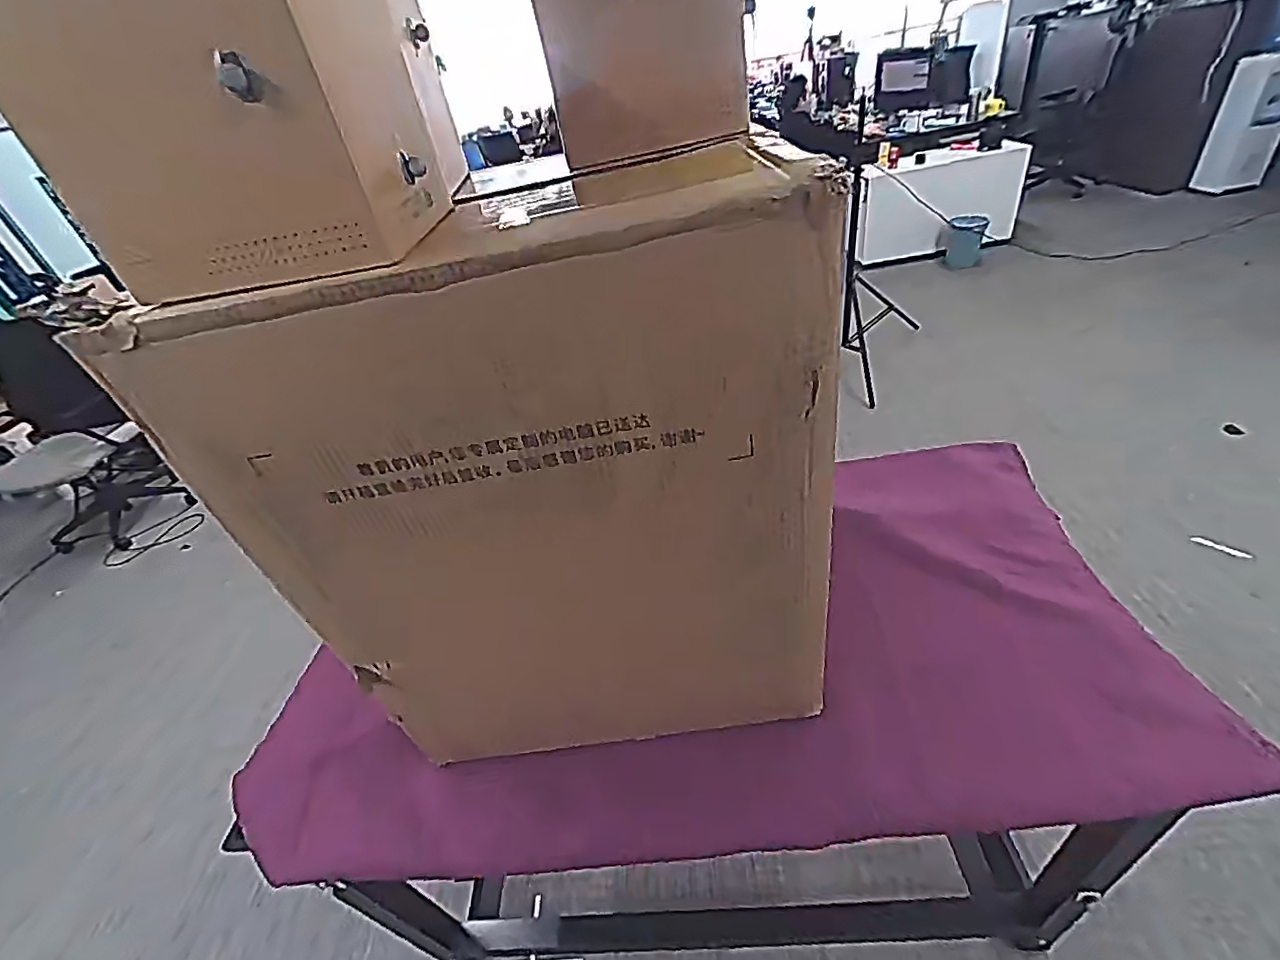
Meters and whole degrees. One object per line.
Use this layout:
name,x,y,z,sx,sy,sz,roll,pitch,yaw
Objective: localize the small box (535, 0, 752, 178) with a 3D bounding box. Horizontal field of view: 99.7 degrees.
small box,0.013,-0.412,0.521,0.179,0.176,0.168,-7,37,9
